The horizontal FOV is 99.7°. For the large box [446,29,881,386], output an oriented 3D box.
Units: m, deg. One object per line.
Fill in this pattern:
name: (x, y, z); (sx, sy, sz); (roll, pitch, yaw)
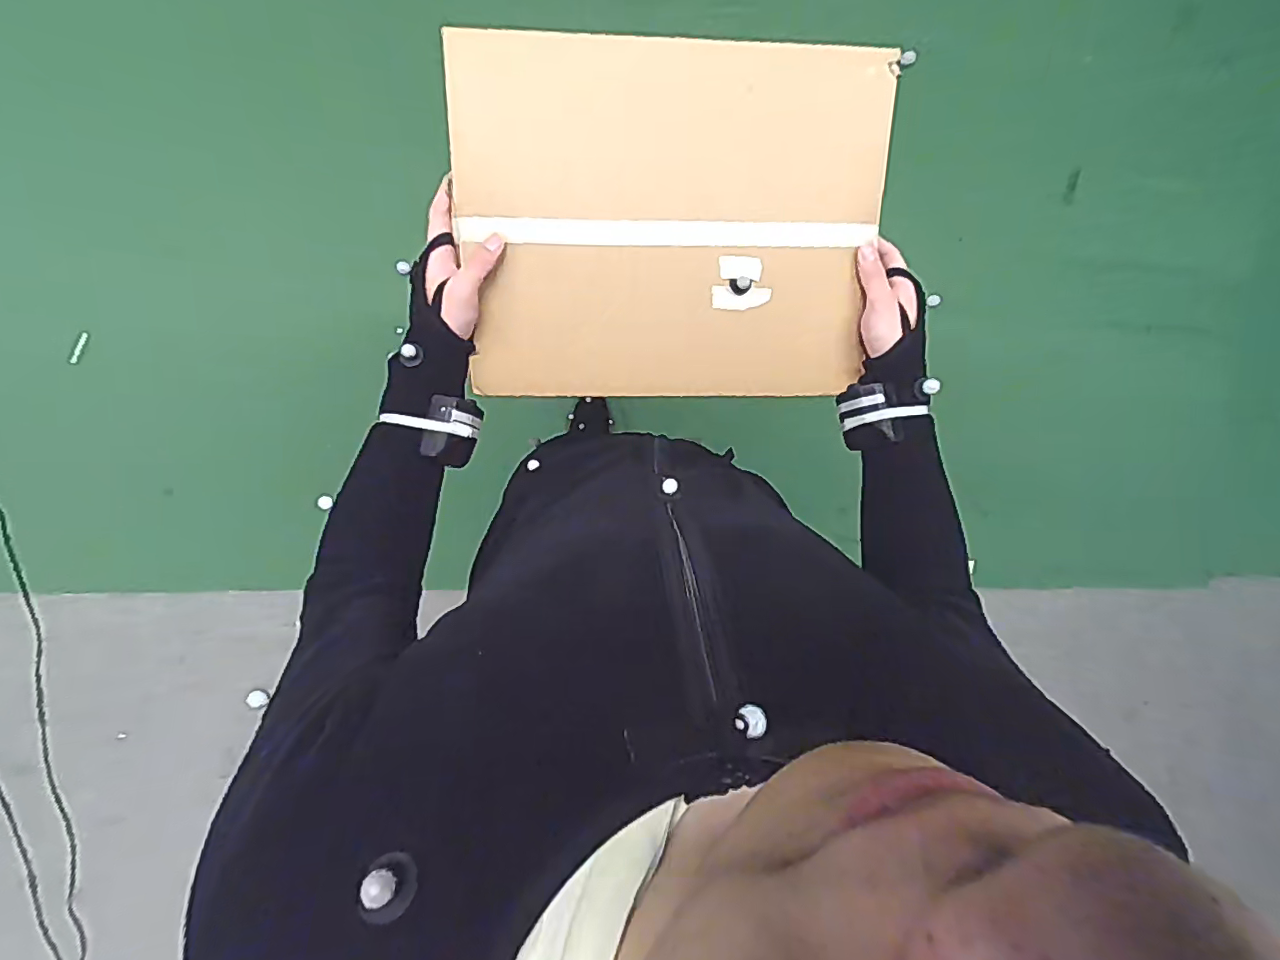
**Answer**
large box: (0.015, -0.294, 0.669); (0.408, 0.320, 0.320); (-2, 107, -5)
